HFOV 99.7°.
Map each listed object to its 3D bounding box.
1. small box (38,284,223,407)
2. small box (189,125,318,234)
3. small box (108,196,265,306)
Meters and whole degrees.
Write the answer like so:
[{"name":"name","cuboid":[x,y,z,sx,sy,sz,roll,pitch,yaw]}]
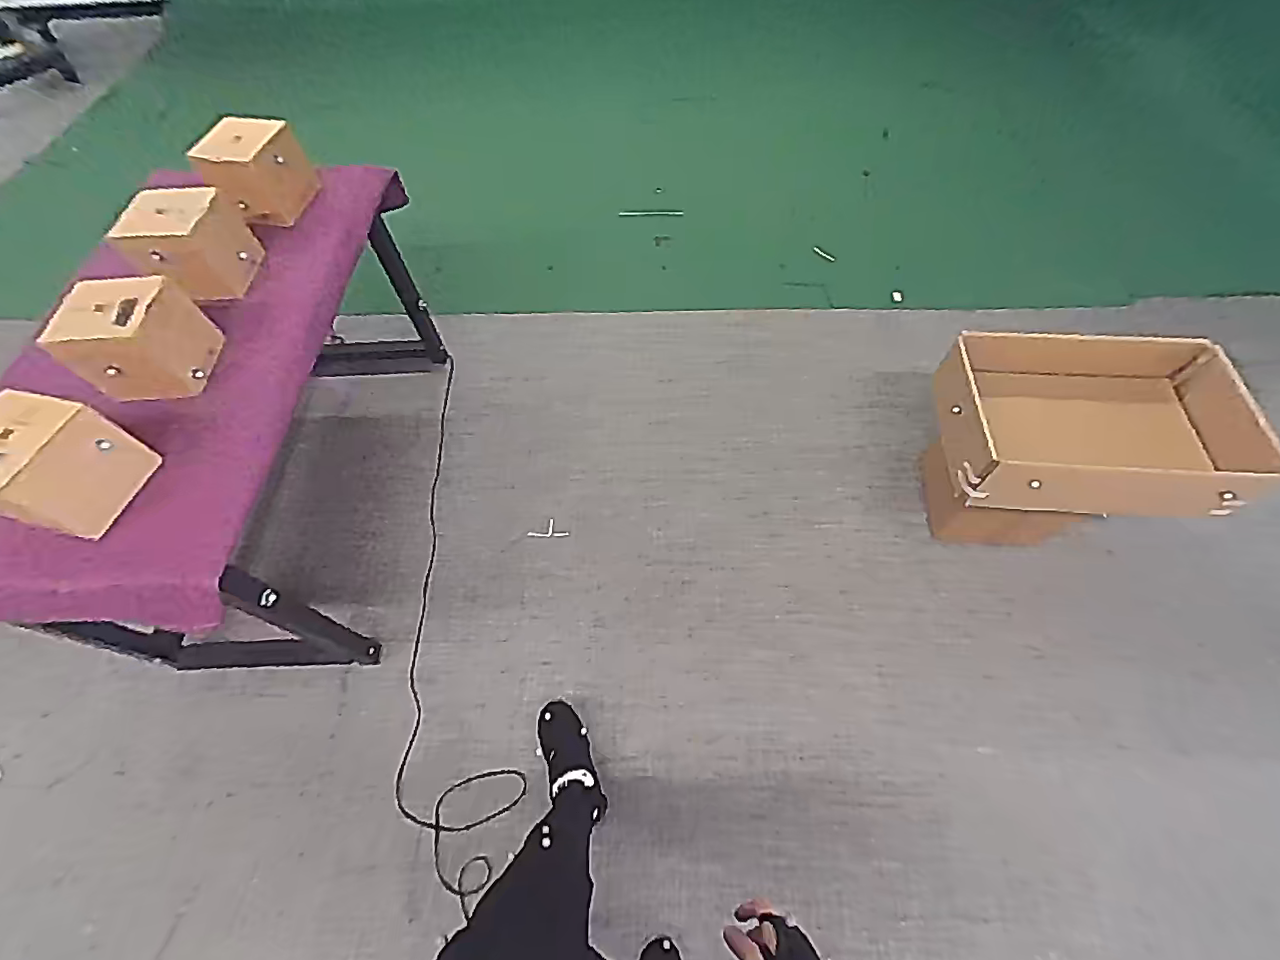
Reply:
[{"name":"small box","cuboid":[-0.980,-0.260,1.064,0.179,0.176,0.168,-4,59,1]},{"name":"small box","cuboid":[-0.950,-0.750,1.353,0.168,0.176,0.179,8,61,7]},{"name":"small box","cuboid":[-0.999,-0.507,1.211,0.179,0.176,0.168,-1,60,2]}]
